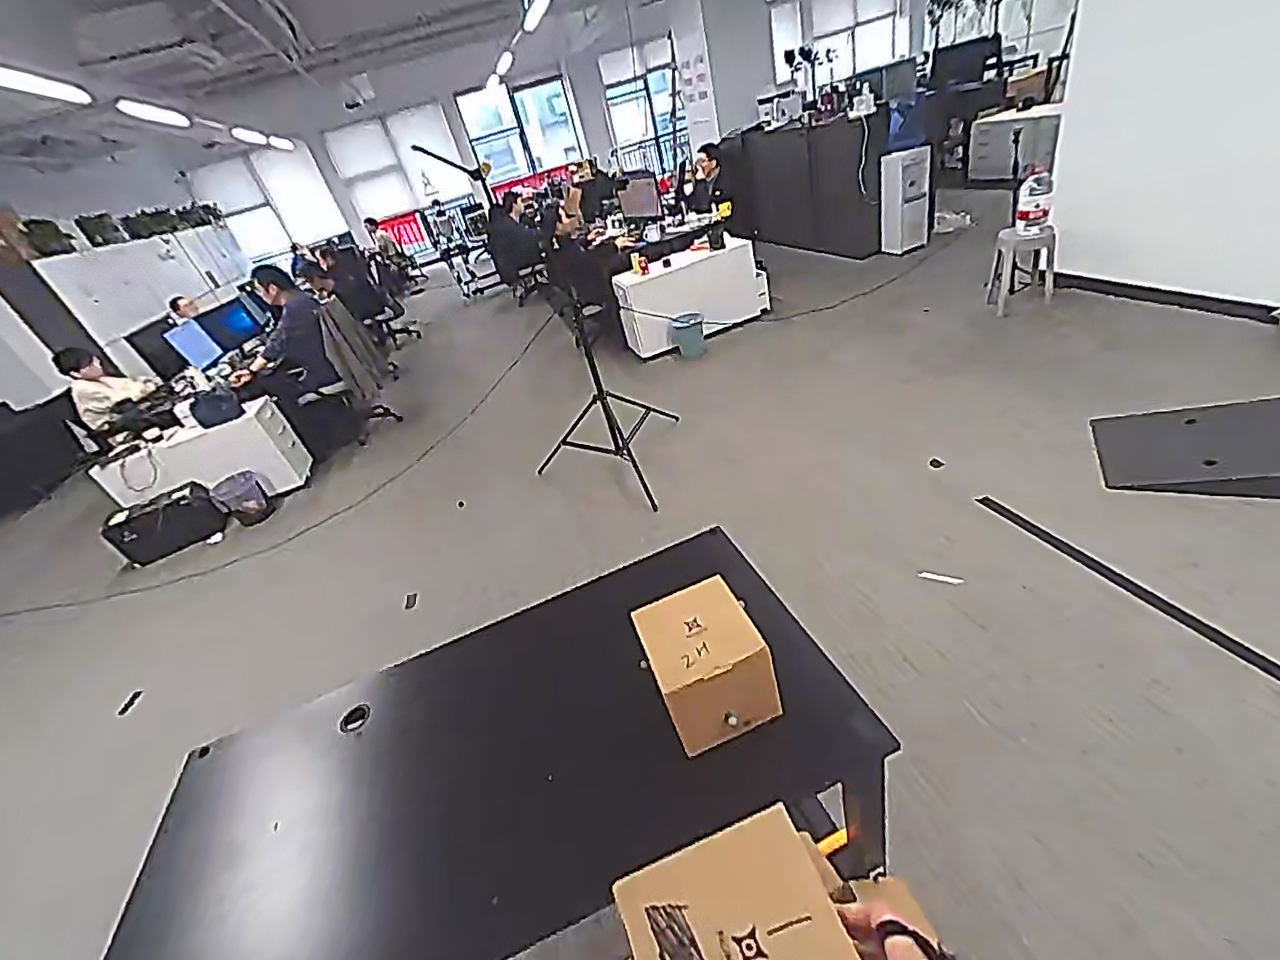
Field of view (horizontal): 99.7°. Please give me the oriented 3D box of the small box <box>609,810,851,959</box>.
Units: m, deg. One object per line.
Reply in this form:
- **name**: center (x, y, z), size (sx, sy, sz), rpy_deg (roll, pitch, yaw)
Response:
- **small box**: center (0.091, 0.447, 0.496), size (0.179, 0.176, 0.168), rpy_deg (-21, 43, -8)

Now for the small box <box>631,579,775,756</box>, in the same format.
- **small box**: center (0.100, 0.300, 0.875), size (0.168, 0.176, 0.179), rpy_deg (-22, 32, -6)
